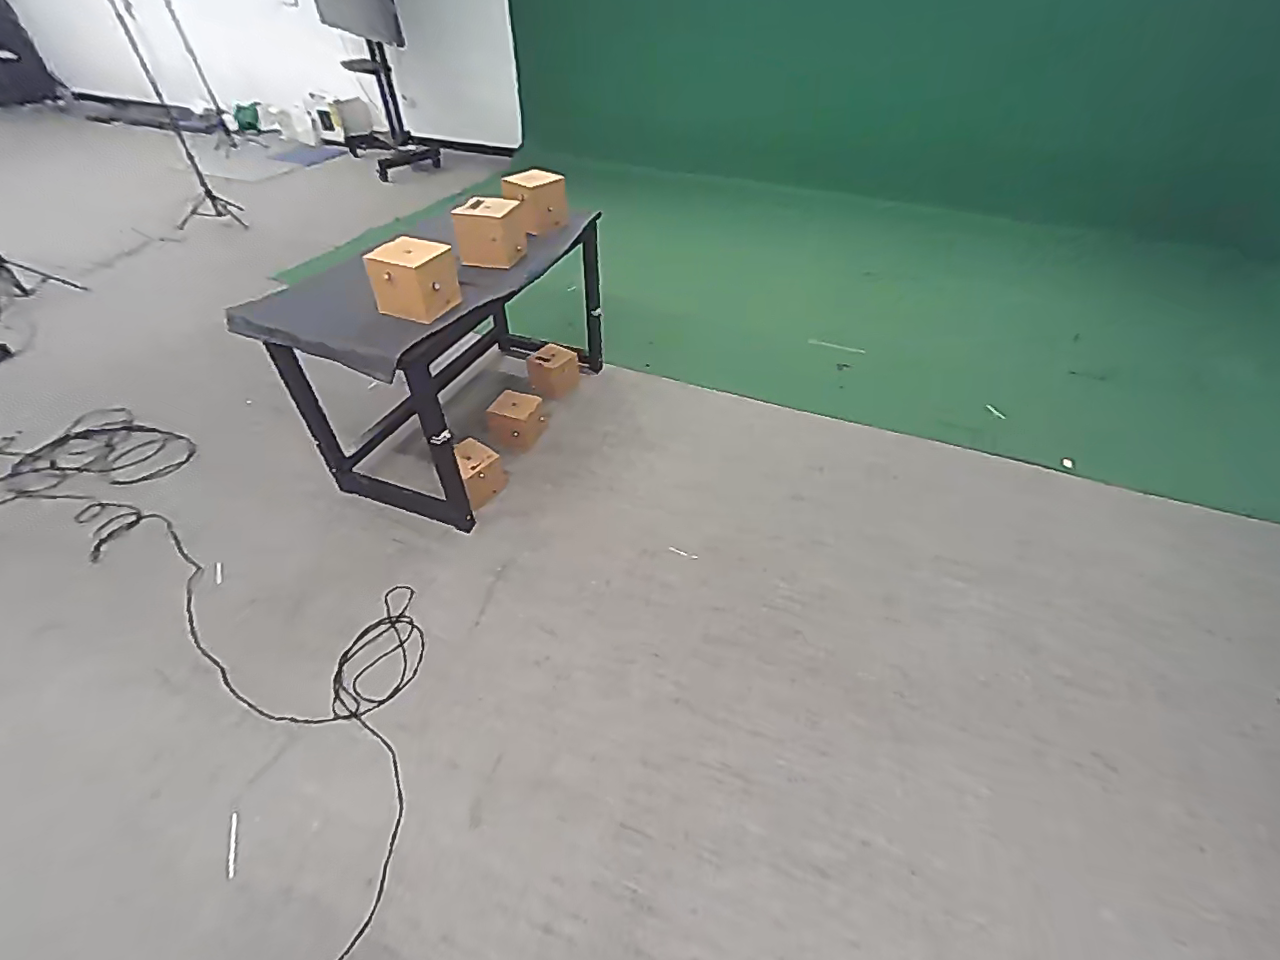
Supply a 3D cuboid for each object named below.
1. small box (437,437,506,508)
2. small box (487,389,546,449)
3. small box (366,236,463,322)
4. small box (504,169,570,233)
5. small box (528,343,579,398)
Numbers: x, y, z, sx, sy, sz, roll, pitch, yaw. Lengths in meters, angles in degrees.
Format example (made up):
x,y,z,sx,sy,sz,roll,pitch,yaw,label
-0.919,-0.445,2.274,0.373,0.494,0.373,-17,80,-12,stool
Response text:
x,y,z,sx,sy,sz,roll,pitch,yaw,label
-0.629,-0.026,2.031,0.179,0.176,0.168,30,51,26,small box
-0.509,-0.251,2.262,0.179,0.176,0.168,14,45,13,small box
-0.633,-0.571,1.546,0.179,0.176,0.168,17,47,15,small box
-0.381,-1.044,2.029,0.179,0.176,0.168,32,52,30,small box
-0.399,-0.511,2.529,0.168,0.176,0.179,27,48,22,small box
